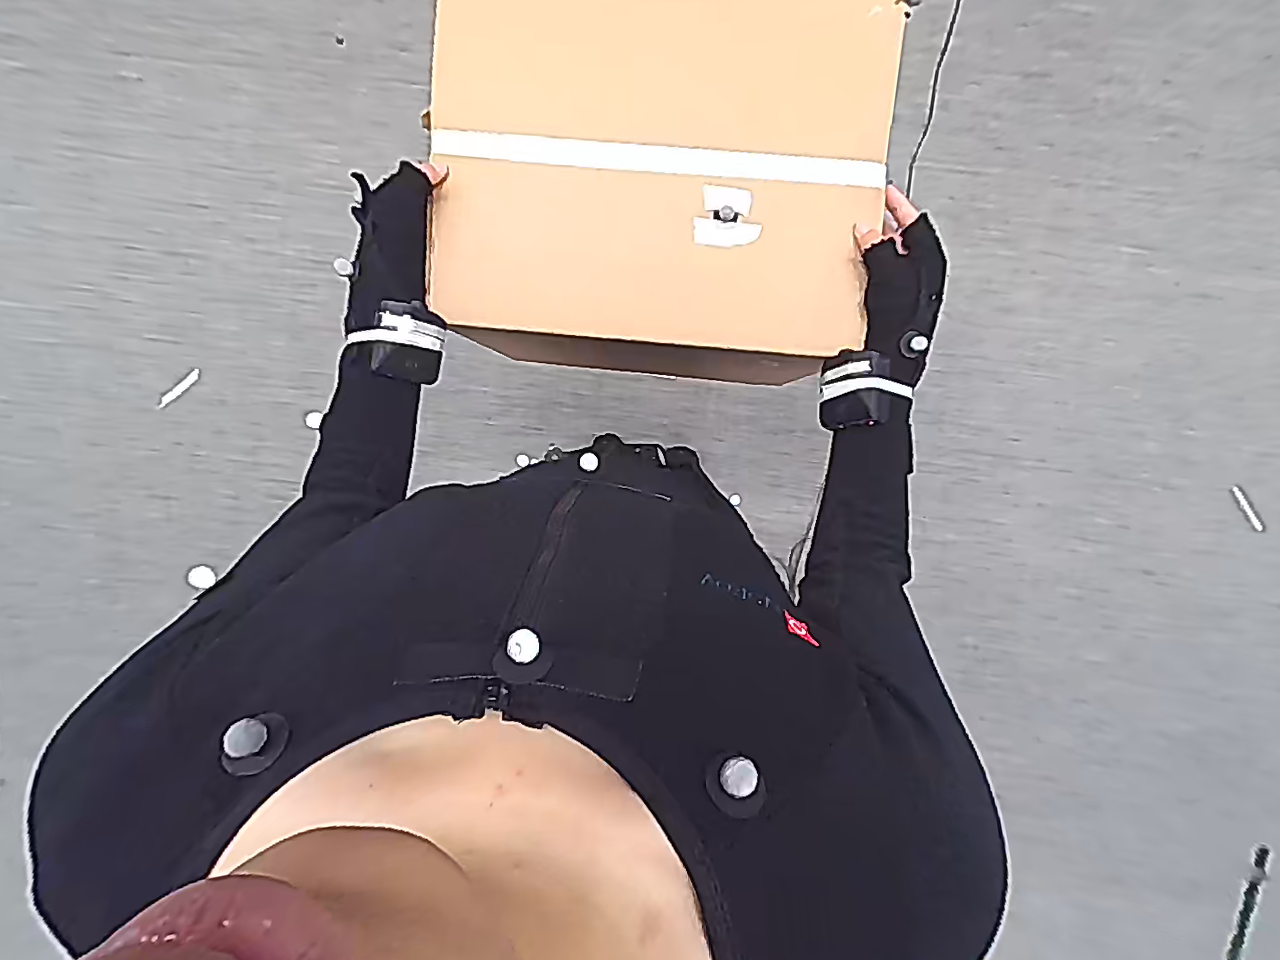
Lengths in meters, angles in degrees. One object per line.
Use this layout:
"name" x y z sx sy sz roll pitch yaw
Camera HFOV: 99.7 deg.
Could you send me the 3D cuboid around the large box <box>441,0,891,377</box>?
"large box" 0.018 -0.303 0.647 0.408 0.320 0.320 5 97 1
